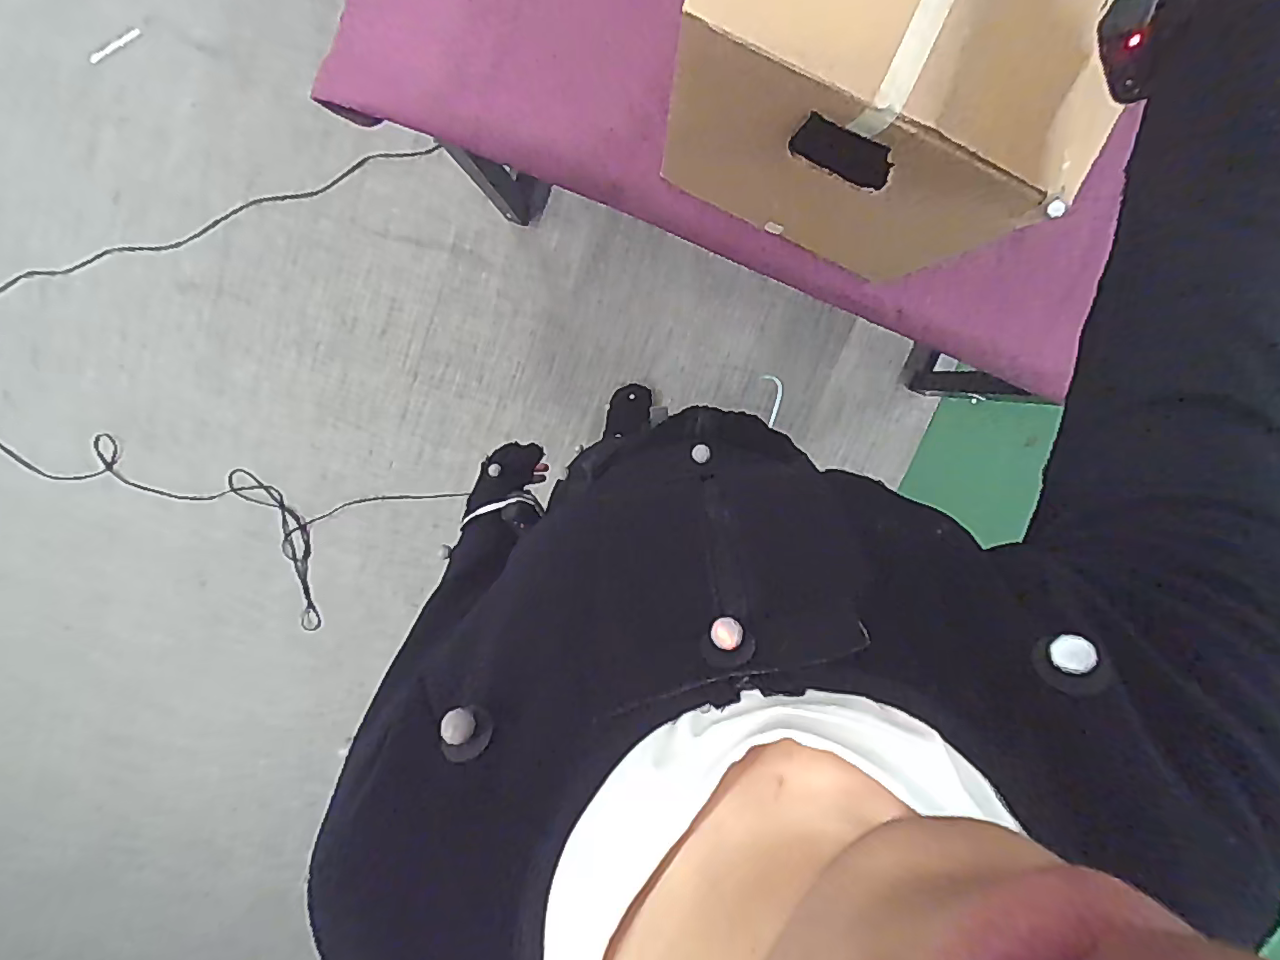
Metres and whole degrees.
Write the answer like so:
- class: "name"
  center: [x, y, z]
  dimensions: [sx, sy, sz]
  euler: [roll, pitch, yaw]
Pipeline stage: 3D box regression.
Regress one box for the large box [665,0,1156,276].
- class: "large box"
  center: [0.247, -0.471, 0.515]
  dimensions: [0.320, 0.320, 0.408]
  euler: [24, 100, -4]
